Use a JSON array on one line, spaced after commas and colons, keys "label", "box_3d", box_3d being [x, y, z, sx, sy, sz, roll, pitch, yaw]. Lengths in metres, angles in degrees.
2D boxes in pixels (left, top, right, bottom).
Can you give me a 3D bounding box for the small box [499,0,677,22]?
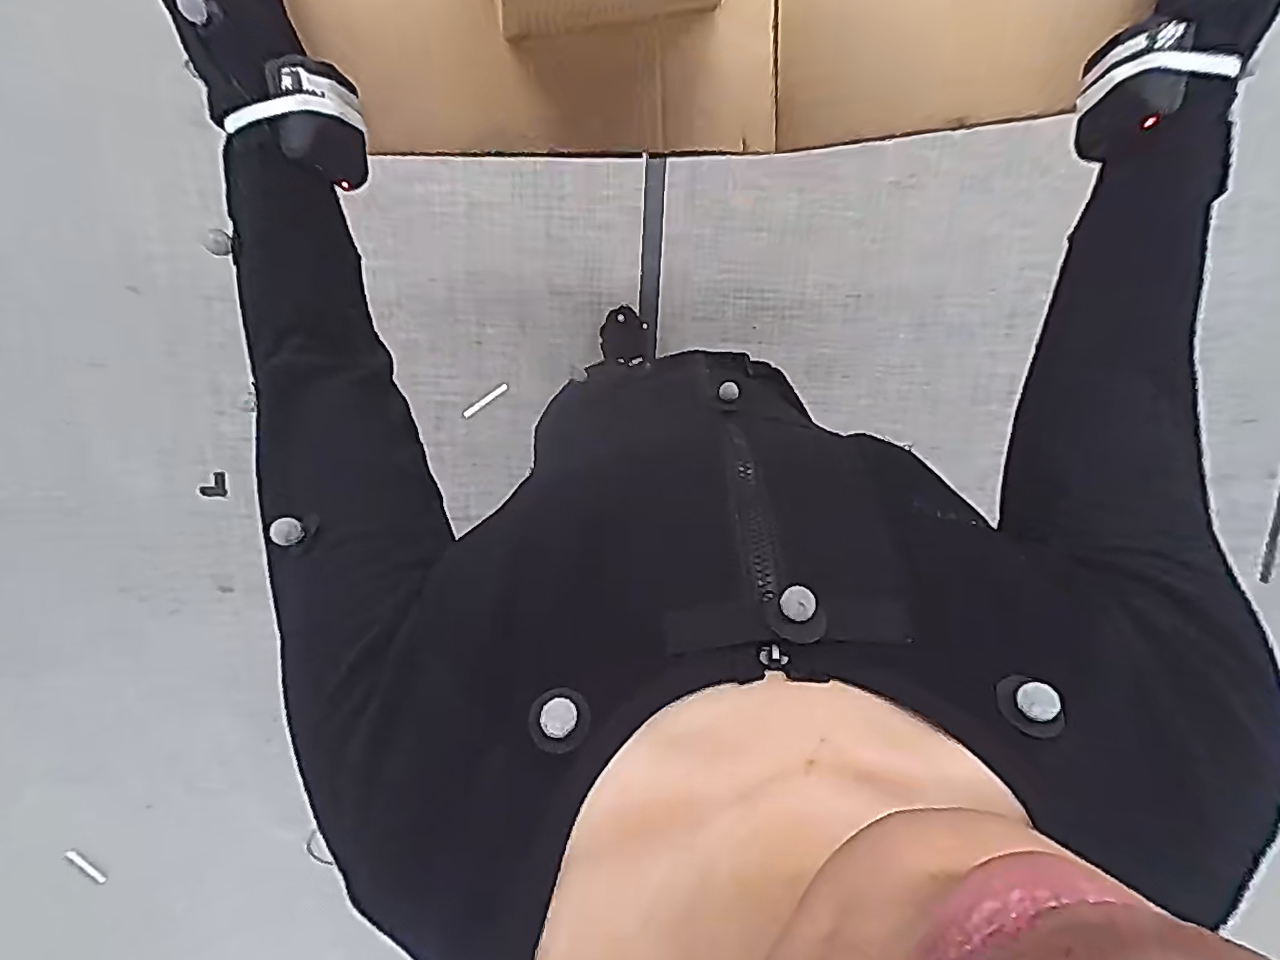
[{"label": "small box", "box_3d": [-0.018, -0.415, 0.318, 0.179, 0.176, 0.168, -15, 109, -7]}]
